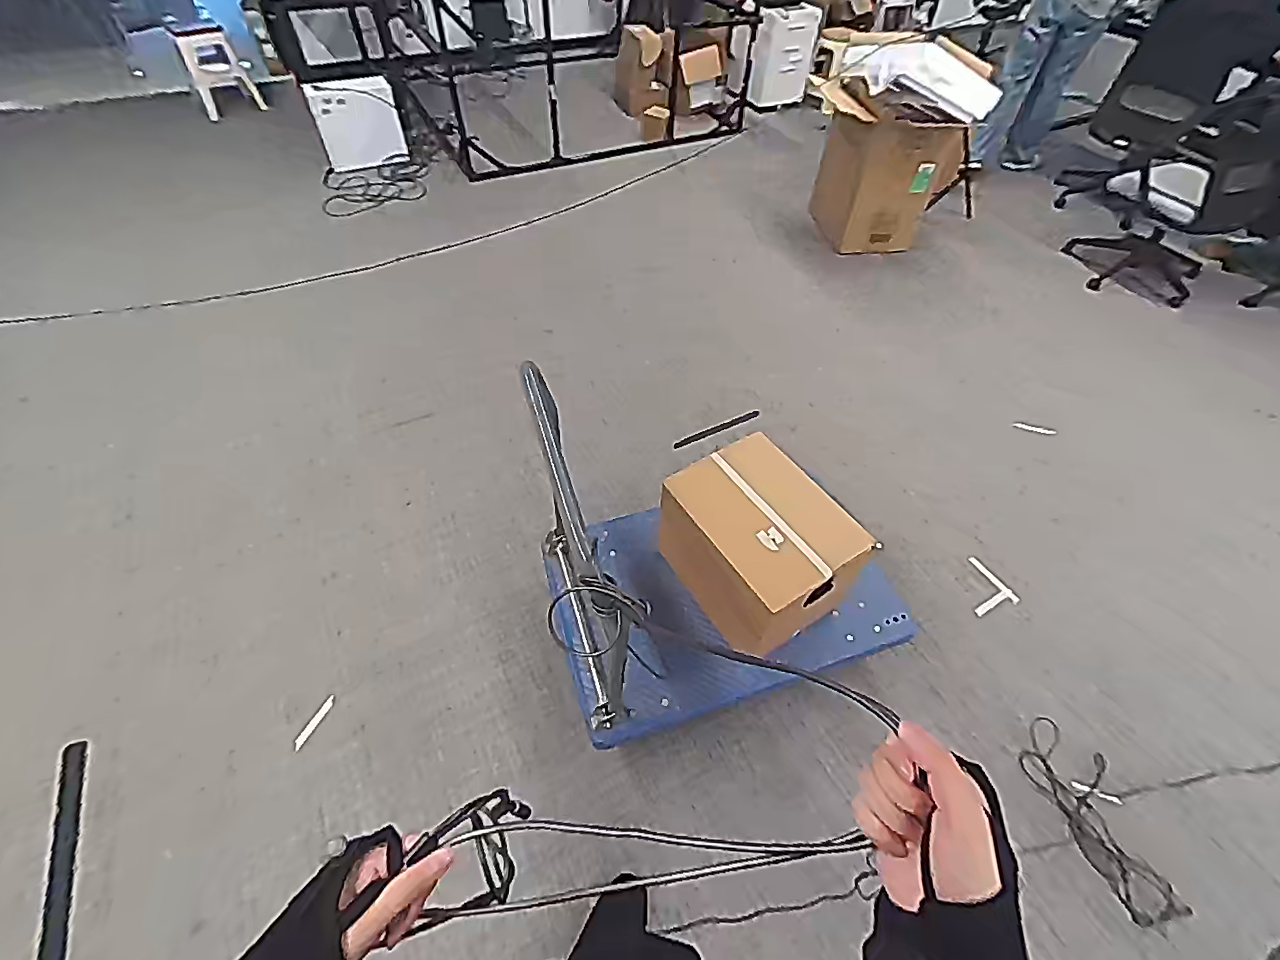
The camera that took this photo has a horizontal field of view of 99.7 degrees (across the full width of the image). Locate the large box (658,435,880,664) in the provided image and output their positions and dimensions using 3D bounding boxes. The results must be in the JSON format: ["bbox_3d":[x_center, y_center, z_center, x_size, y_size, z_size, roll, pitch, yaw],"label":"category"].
[{"bbox_3d":[0.287,0.166,1.345,0.320,0.320,0.408,-27,58,-20],"label":"large box"}]
